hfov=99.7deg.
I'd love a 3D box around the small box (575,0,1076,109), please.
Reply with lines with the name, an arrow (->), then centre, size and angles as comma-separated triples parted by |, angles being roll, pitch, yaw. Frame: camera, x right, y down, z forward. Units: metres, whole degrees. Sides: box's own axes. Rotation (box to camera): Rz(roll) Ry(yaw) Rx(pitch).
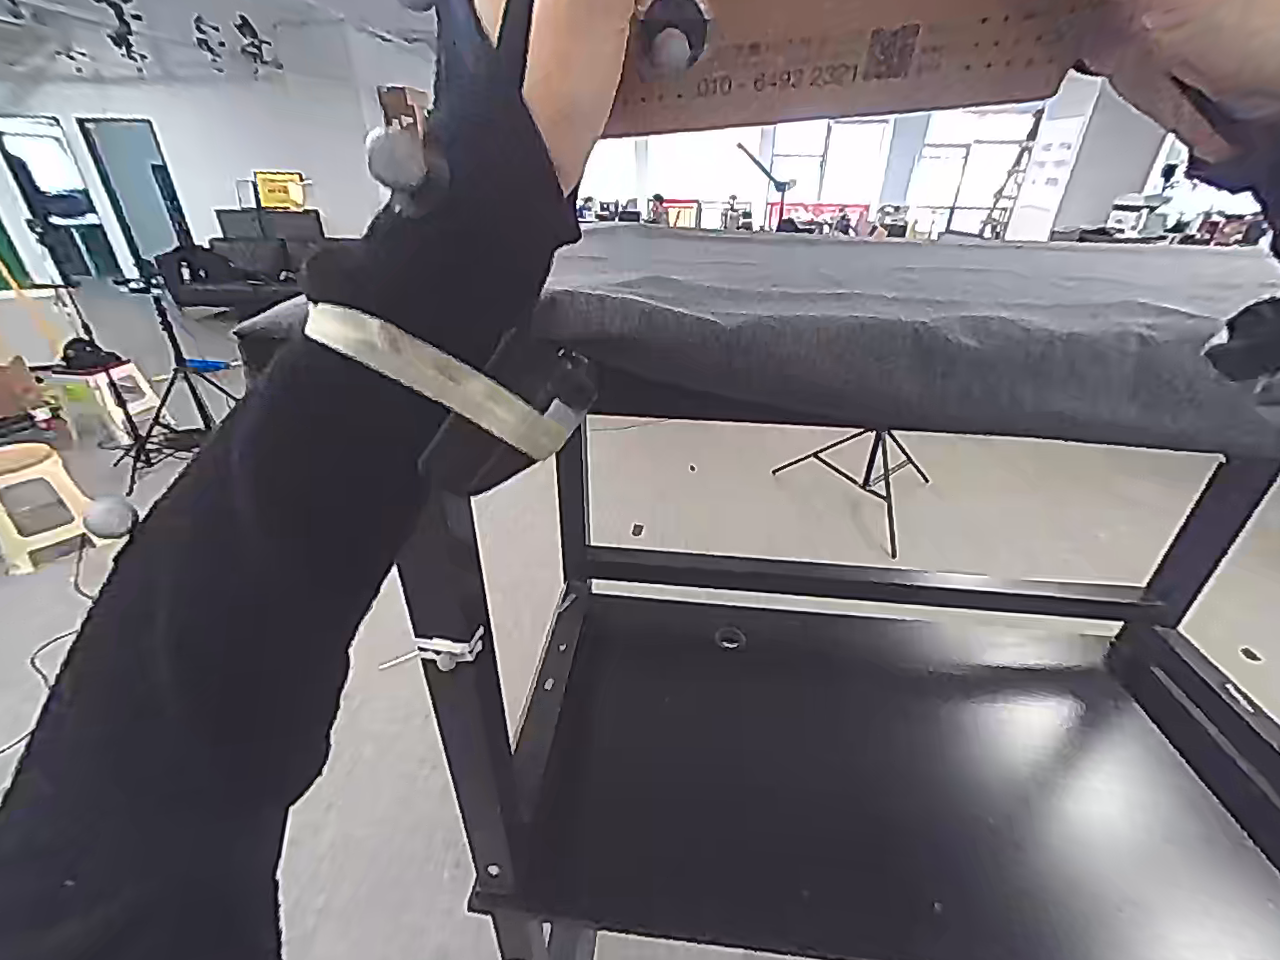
small box -> 0.057, -0.244, 0.171 | 0.168, 0.176, 0.179 | -1, 58, 5
